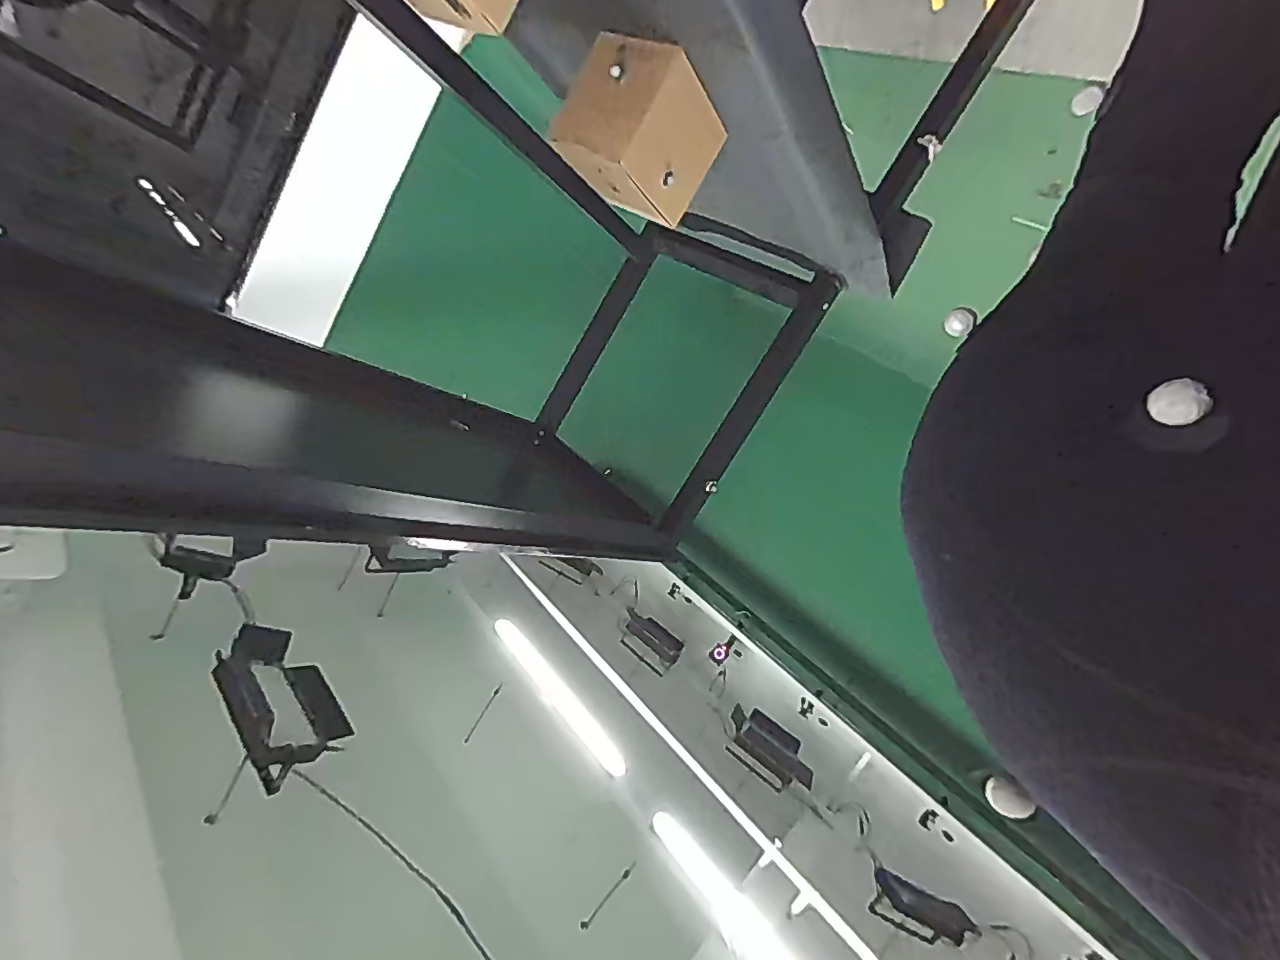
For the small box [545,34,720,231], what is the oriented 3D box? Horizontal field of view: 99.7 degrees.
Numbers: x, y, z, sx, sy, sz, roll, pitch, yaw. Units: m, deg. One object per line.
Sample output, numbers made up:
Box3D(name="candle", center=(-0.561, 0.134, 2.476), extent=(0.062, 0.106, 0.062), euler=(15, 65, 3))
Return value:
Box3D(name="small box", center=(-0.004, -0.529, 0.836), extent=(0.168, 0.176, 0.179), euler=(37, -169, 29))
